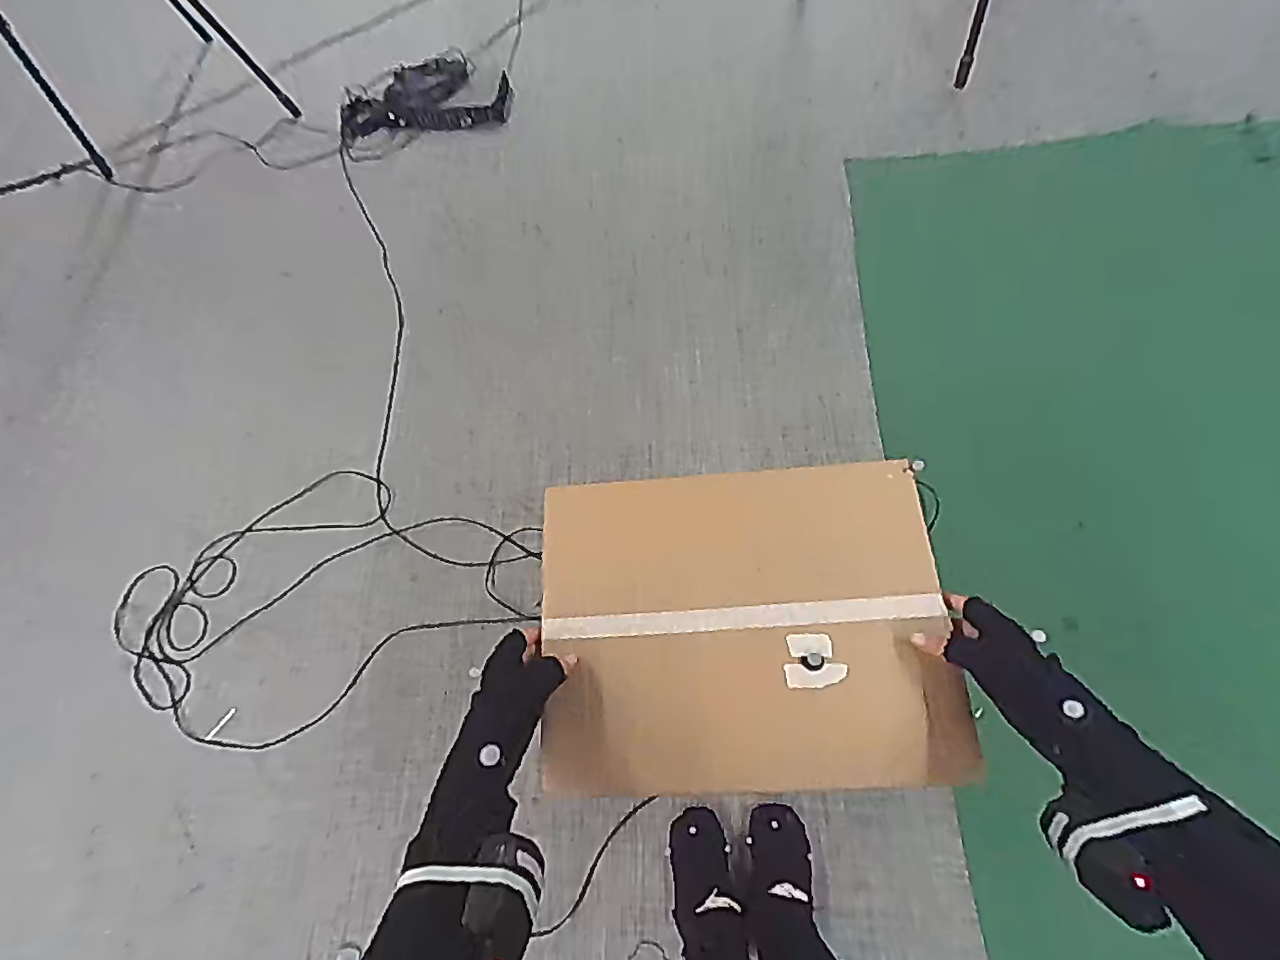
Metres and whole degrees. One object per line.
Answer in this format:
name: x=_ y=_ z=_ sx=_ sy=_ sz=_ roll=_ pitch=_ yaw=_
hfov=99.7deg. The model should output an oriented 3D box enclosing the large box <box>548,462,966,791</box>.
large box: x=0.111 y=0.192 z=0.703 sx=0.408 sy=0.320 sz=0.320 roll=-5 pitch=70 yaw=4
